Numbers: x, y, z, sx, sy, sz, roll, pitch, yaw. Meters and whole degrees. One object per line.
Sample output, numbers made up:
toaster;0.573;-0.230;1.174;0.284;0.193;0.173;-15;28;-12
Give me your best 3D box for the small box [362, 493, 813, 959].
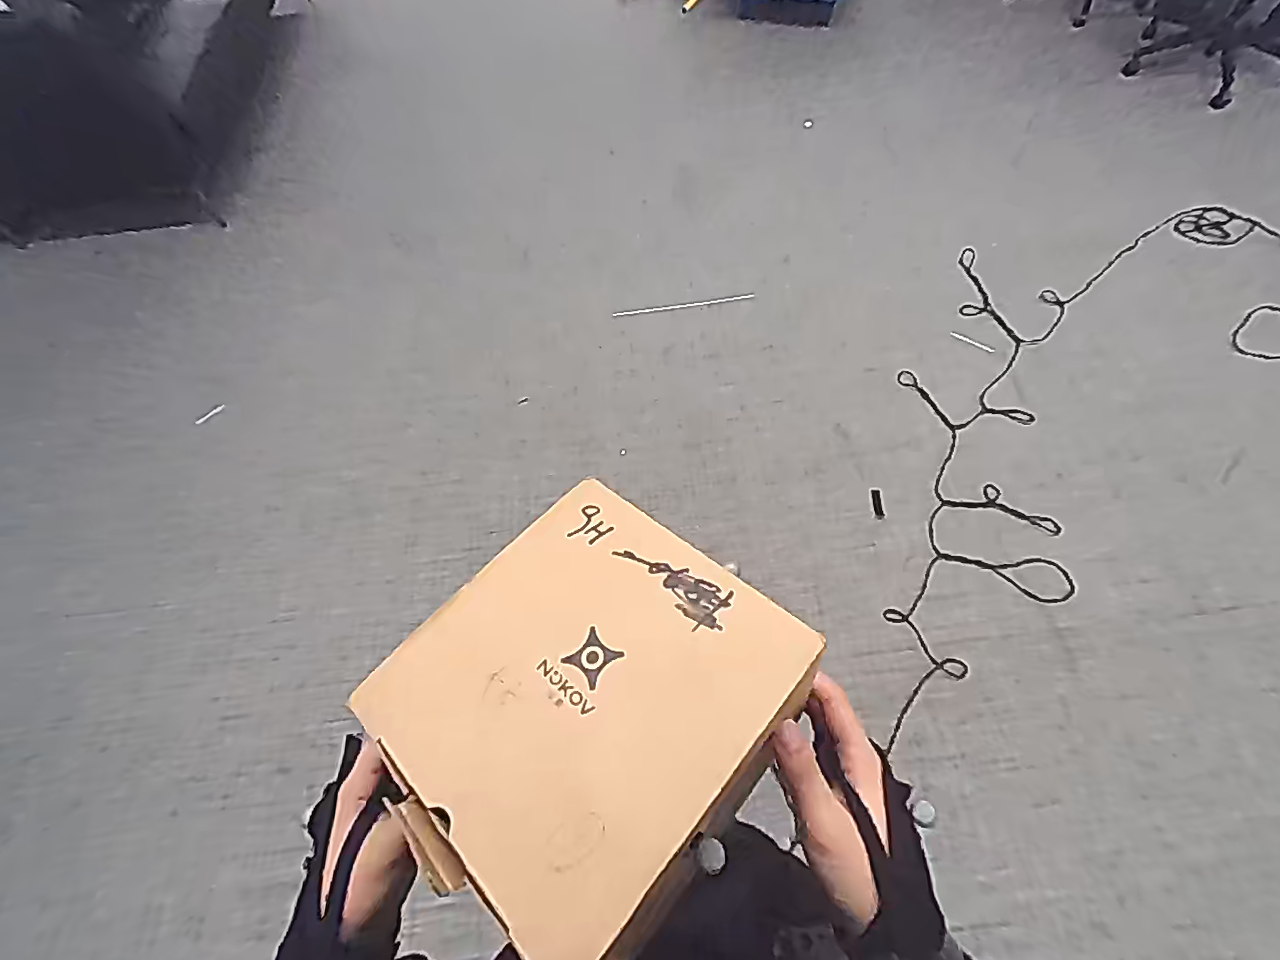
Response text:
small box;-0.016;0.148;0.331;0.168;0.176;0.179;33;66;29
